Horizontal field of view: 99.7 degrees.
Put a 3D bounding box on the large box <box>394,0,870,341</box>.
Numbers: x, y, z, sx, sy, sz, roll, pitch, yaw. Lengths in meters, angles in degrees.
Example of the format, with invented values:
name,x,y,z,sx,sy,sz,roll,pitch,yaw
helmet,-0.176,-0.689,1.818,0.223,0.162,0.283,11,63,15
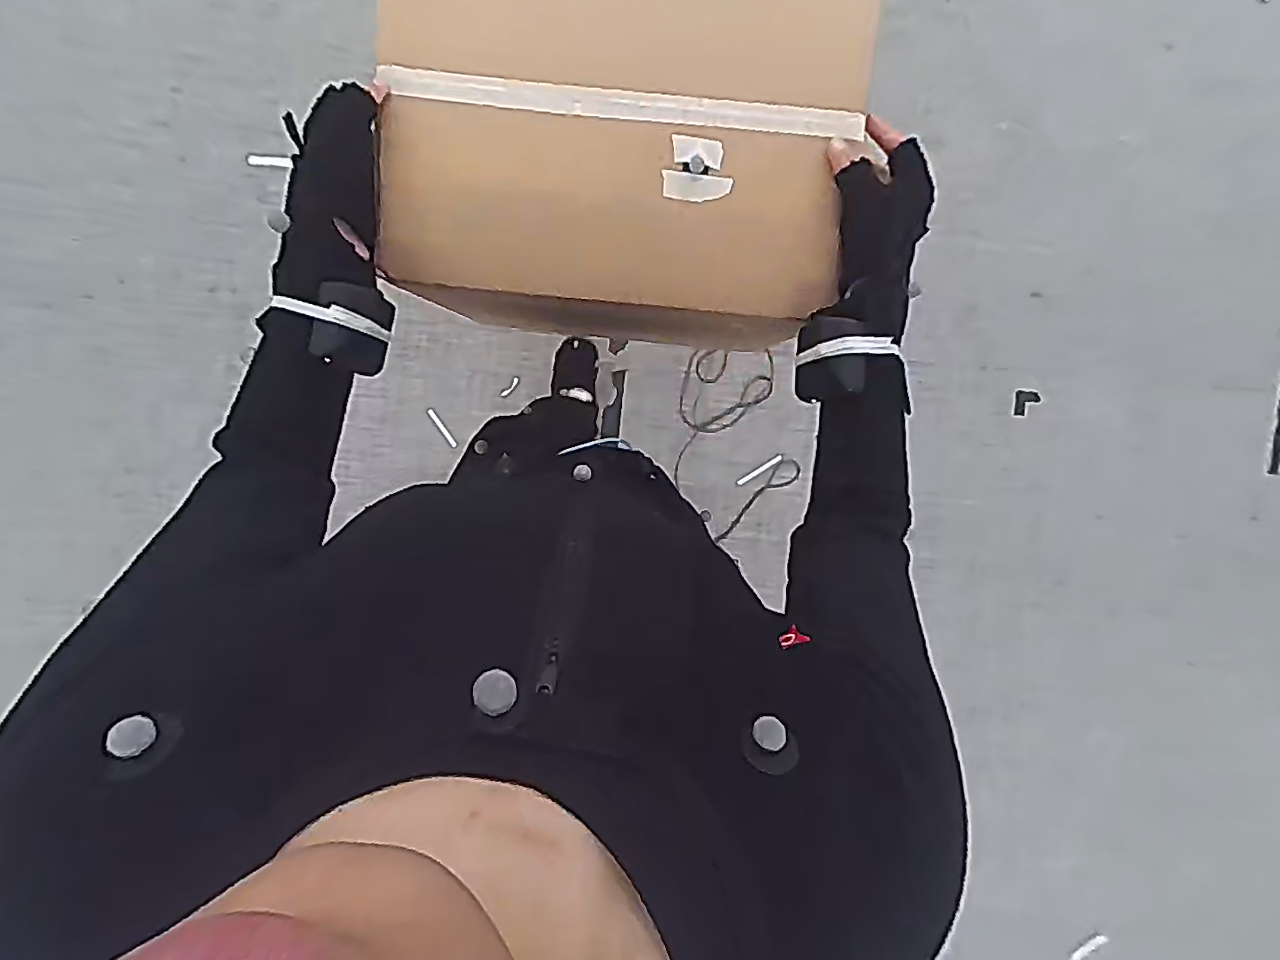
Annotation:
name,x,y,z,sx,sy,sz,roll,pitch,yaw
large box,-0.015,-0.344,0.613,0.408,0.320,0.320,5,100,-2
